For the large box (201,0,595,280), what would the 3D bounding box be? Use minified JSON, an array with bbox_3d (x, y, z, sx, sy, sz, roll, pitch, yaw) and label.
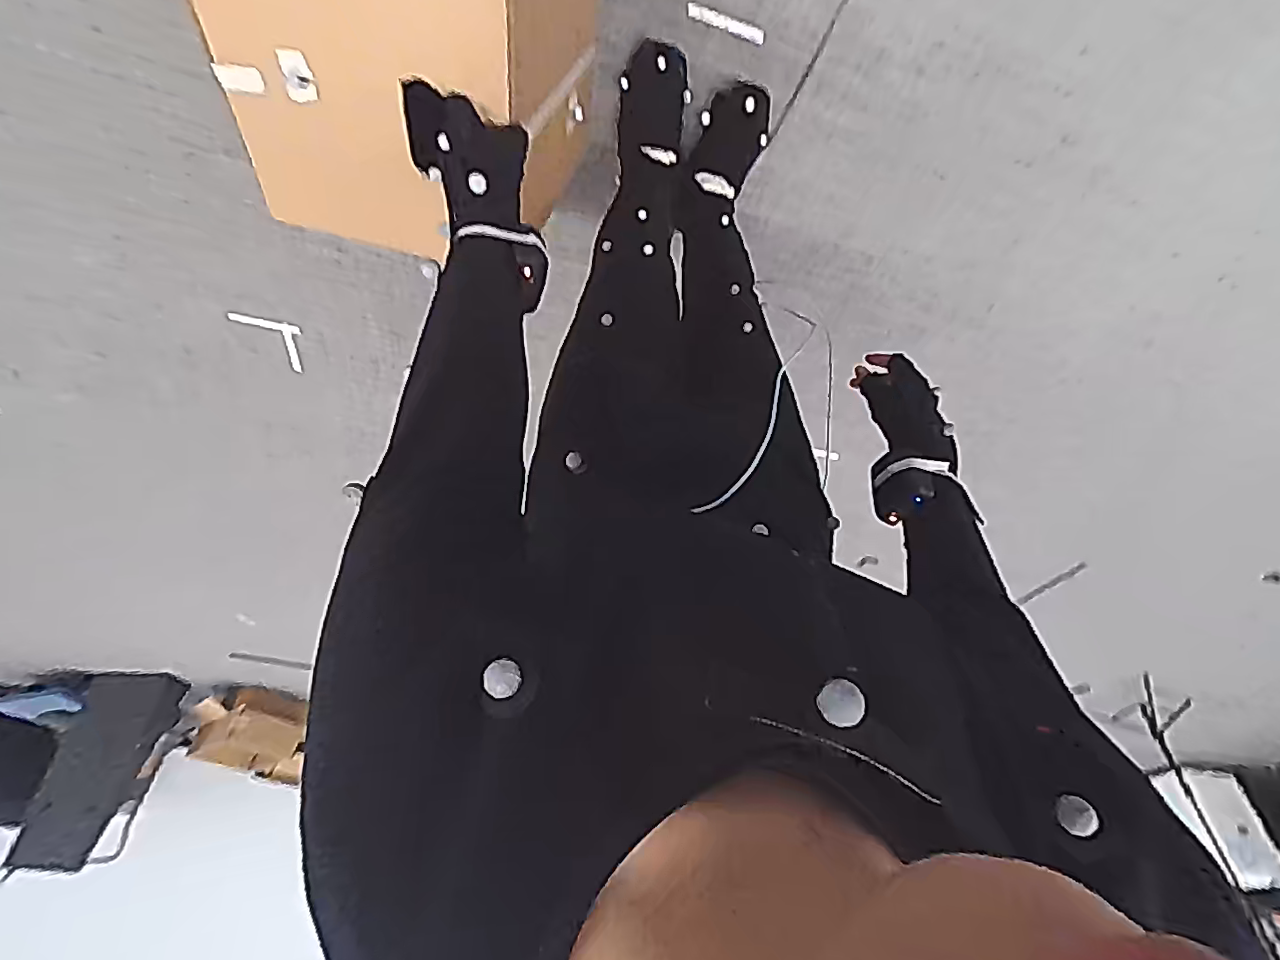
[{"bbox_3d":[-0.254,-0.532,0.699,0.320,0.408,0.320,12,143,-3],"label":"large box"}]
